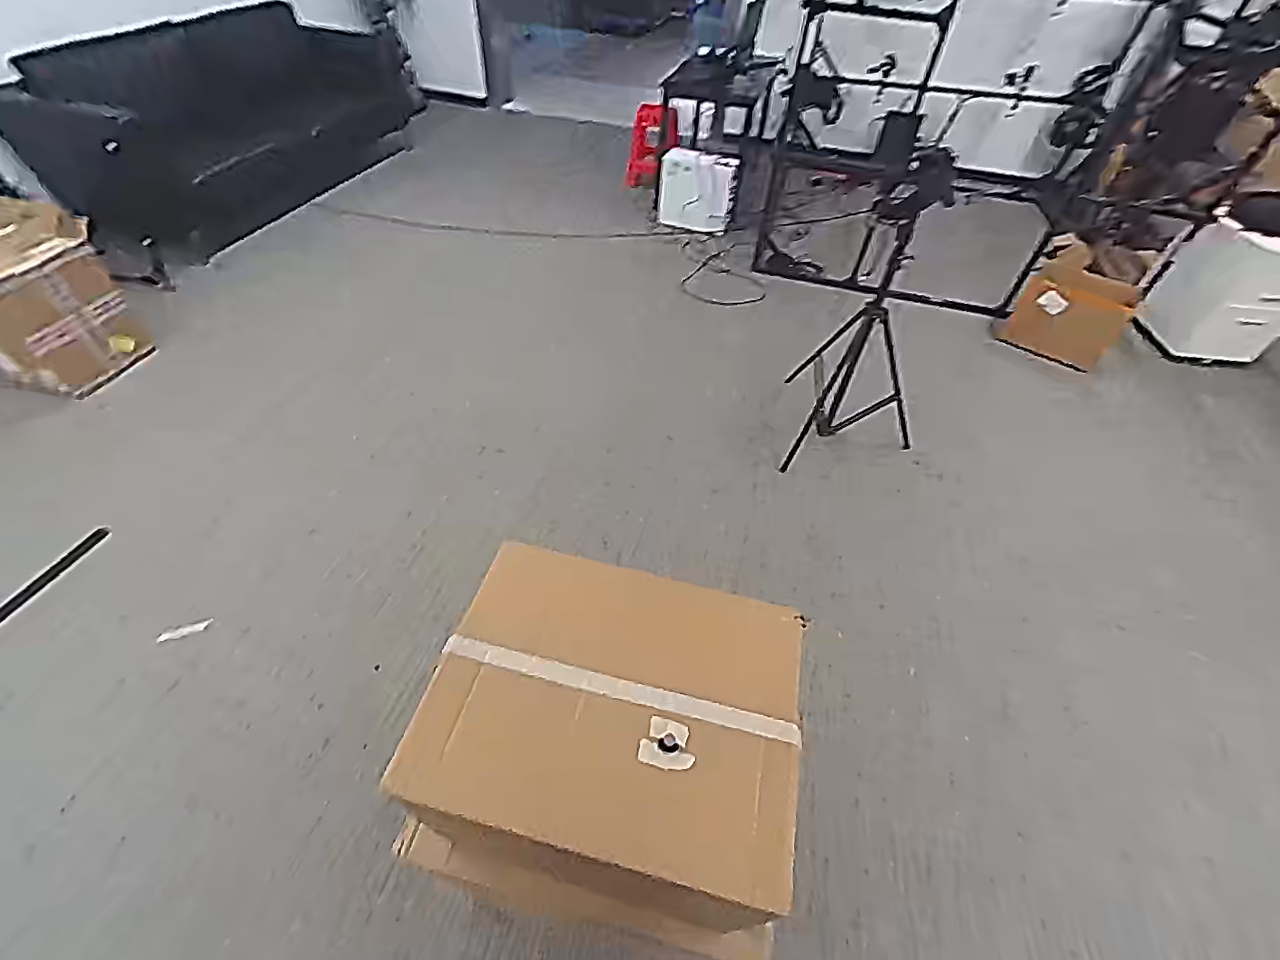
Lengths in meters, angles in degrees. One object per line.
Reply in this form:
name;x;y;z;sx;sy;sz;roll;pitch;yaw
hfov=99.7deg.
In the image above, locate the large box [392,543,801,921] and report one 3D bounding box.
large box;-0.032;0.331;0.717;0.408;0.320;0.320;13;48;6
